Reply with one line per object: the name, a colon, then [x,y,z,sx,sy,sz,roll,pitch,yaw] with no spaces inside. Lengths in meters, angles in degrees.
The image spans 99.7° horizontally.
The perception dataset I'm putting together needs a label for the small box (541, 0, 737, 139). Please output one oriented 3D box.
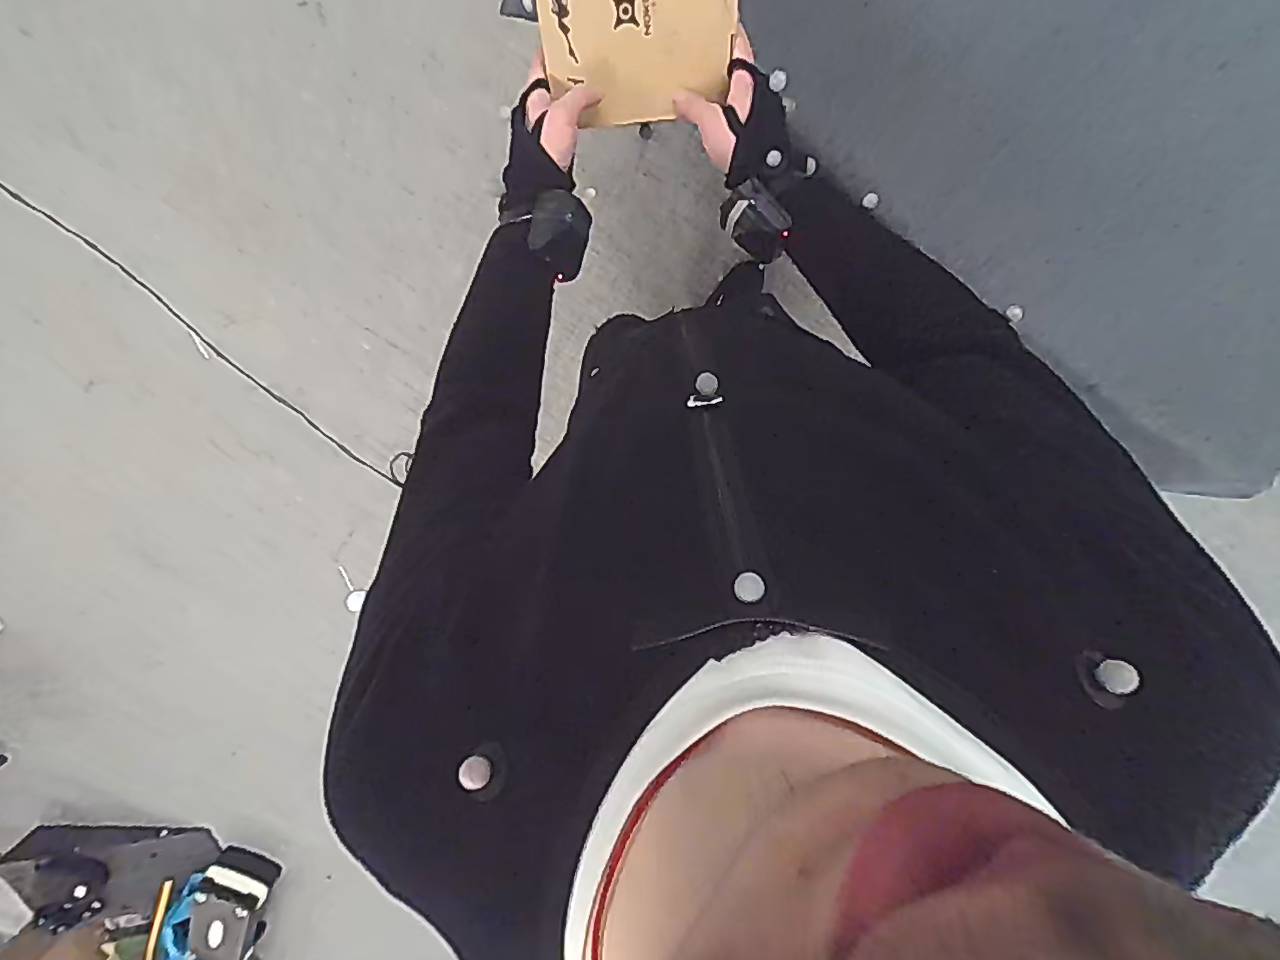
small box: [-0.001,-0.452,0.550,0.179,0.176,0.168,-3,122,2]
